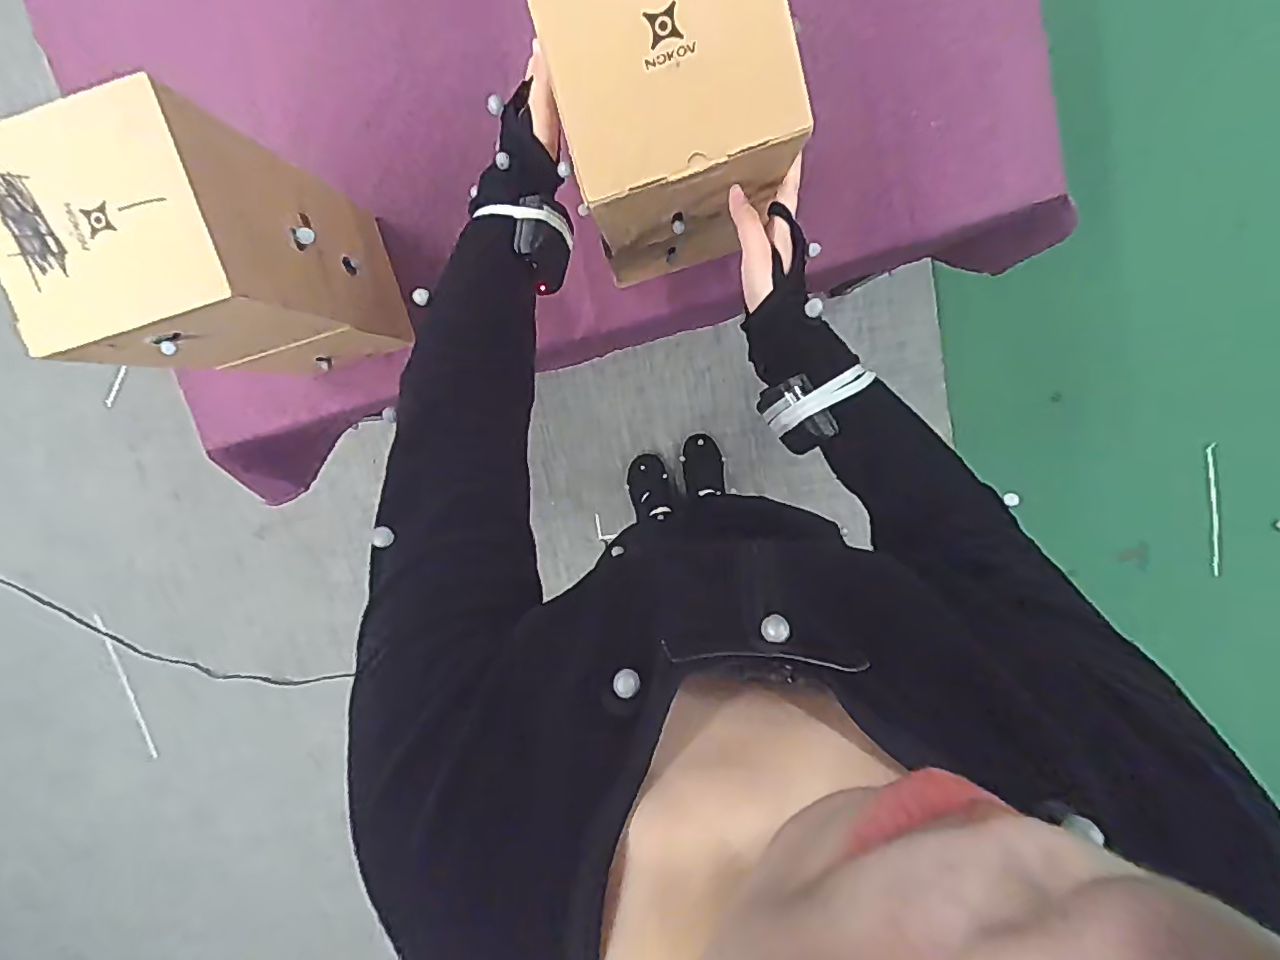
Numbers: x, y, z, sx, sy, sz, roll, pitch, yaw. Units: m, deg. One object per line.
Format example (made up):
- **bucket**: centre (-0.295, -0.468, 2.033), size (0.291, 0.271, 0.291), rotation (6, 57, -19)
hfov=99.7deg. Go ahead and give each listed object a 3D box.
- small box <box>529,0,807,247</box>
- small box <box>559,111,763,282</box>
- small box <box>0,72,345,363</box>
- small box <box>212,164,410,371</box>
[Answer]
- **small box**: centre (0.018, -0.317, 0.442), size (0.168, 0.176, 0.179), rotation (-16, 101, 6)
- **small box**: centre (0.026, -0.344, 0.620), size (0.179, 0.176, 0.168), rotation (-16, 98, 5)
- **small box**: centre (-0.414, -0.210, 0.488), size (0.179, 0.176, 0.168), rotation (-16, 98, 3)
- **small box**: centre (-0.407, -0.236, 0.651), size (0.168, 0.176, 0.179), rotation (-15, 98, 4)
